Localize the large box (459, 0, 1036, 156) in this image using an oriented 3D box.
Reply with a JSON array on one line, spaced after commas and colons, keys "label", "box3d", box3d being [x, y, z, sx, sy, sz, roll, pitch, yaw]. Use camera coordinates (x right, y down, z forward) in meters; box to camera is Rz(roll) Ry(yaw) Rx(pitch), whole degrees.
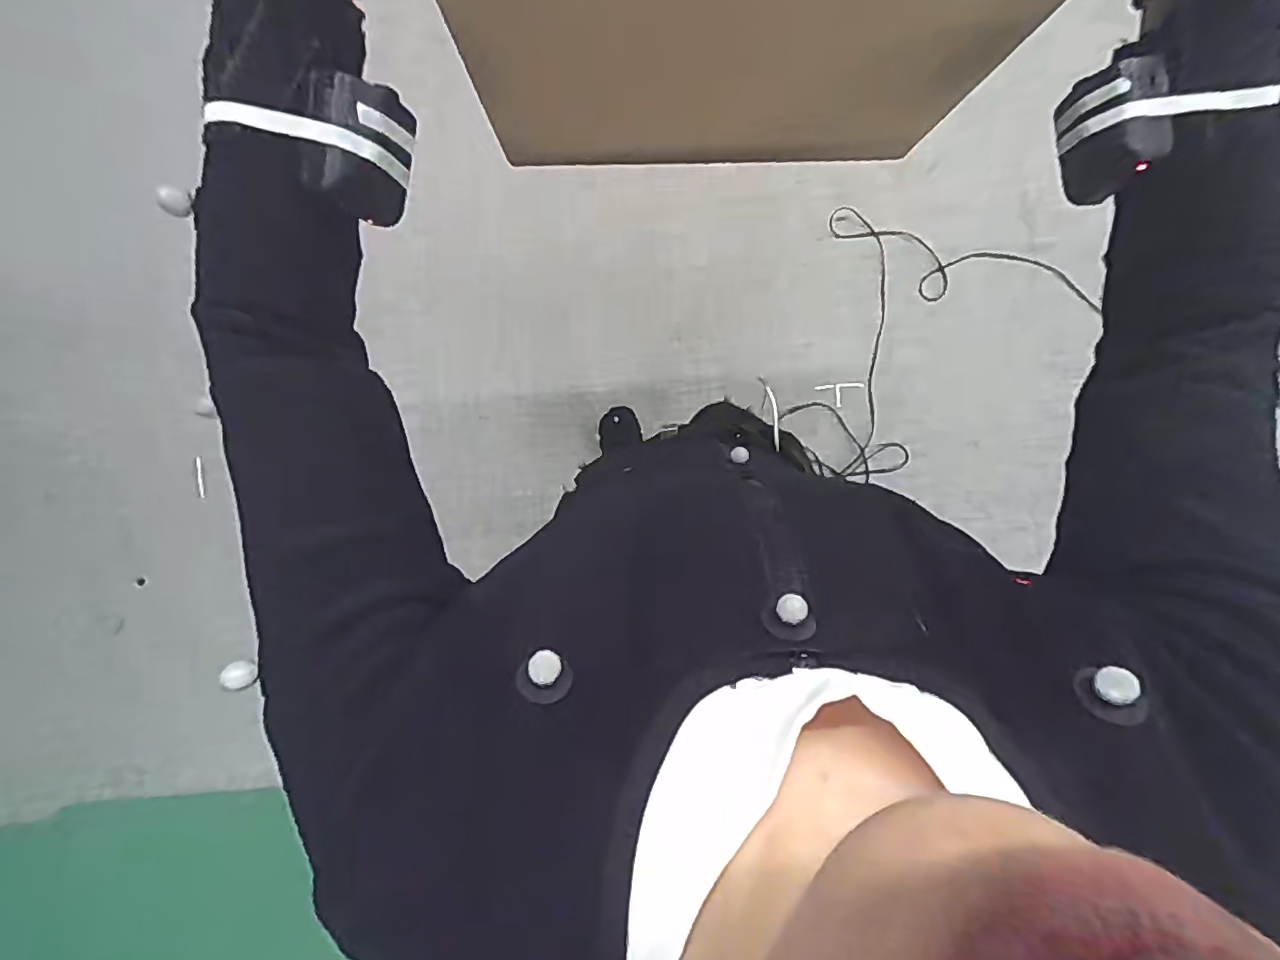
[{"label": "large box", "box3d": [0.068, -0.470, 0.388, 0.408, 0.320, 0.320, -2, 96, -3]}]
